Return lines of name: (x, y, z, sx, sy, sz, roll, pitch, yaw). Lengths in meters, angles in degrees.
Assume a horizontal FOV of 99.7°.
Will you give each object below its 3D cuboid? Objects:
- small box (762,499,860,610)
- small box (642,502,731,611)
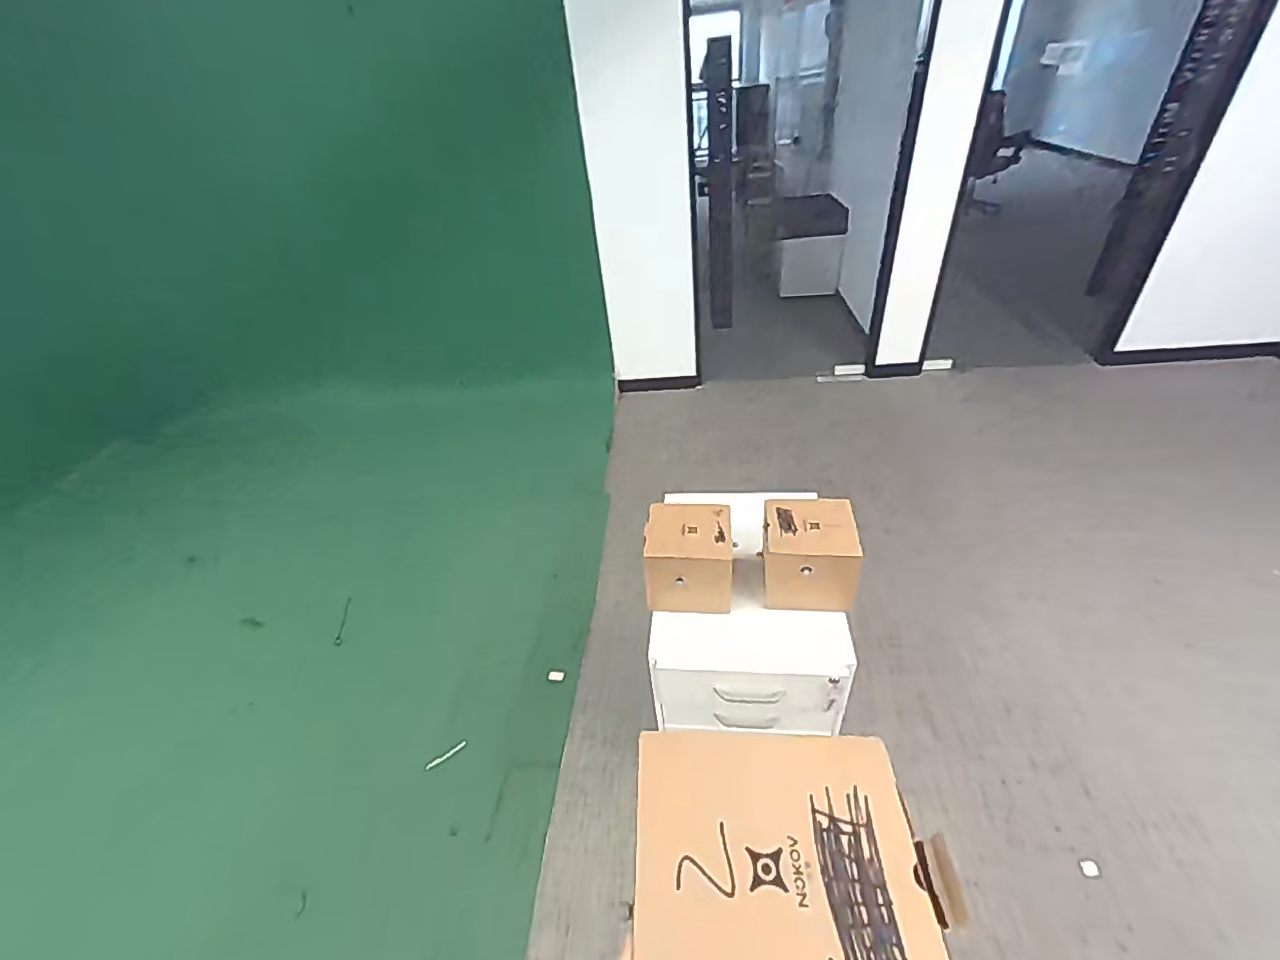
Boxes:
small box: (0.348, 0.156, 1.133, 0.179, 0.176, 0.168, 1, 39, 10)
small box: (0.105, 0.164, 1.157, 0.179, 0.176, 0.168, 1, 39, 8)
